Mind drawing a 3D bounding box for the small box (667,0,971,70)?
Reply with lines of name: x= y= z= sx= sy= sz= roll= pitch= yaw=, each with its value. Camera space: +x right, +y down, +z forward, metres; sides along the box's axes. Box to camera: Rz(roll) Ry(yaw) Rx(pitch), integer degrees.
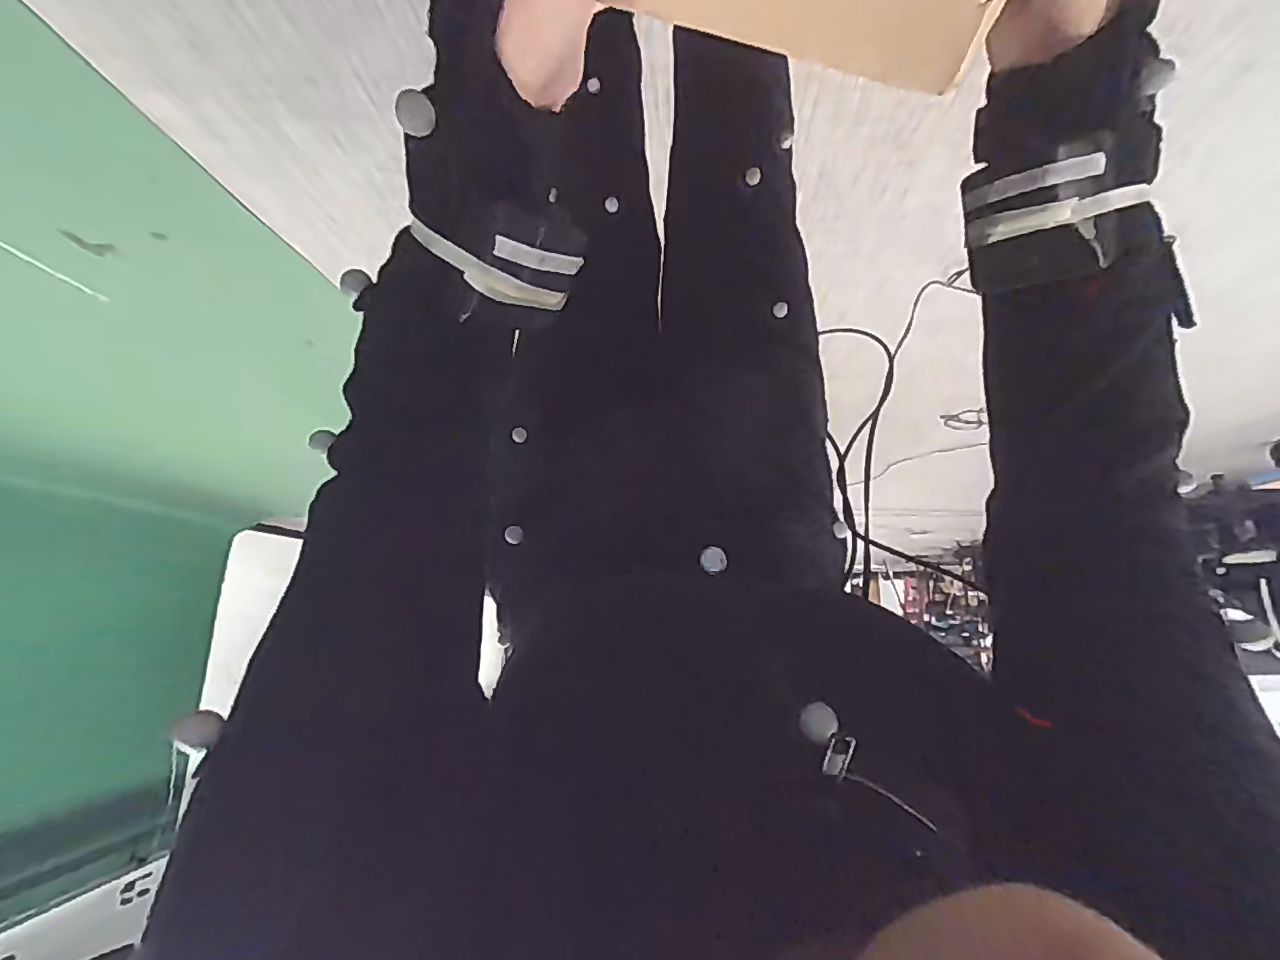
small box: x=0.073 y=-0.287 z=0.170 sx=0.179 sy=0.176 sz=0.168 roll=26 pitch=166 yaw=13
